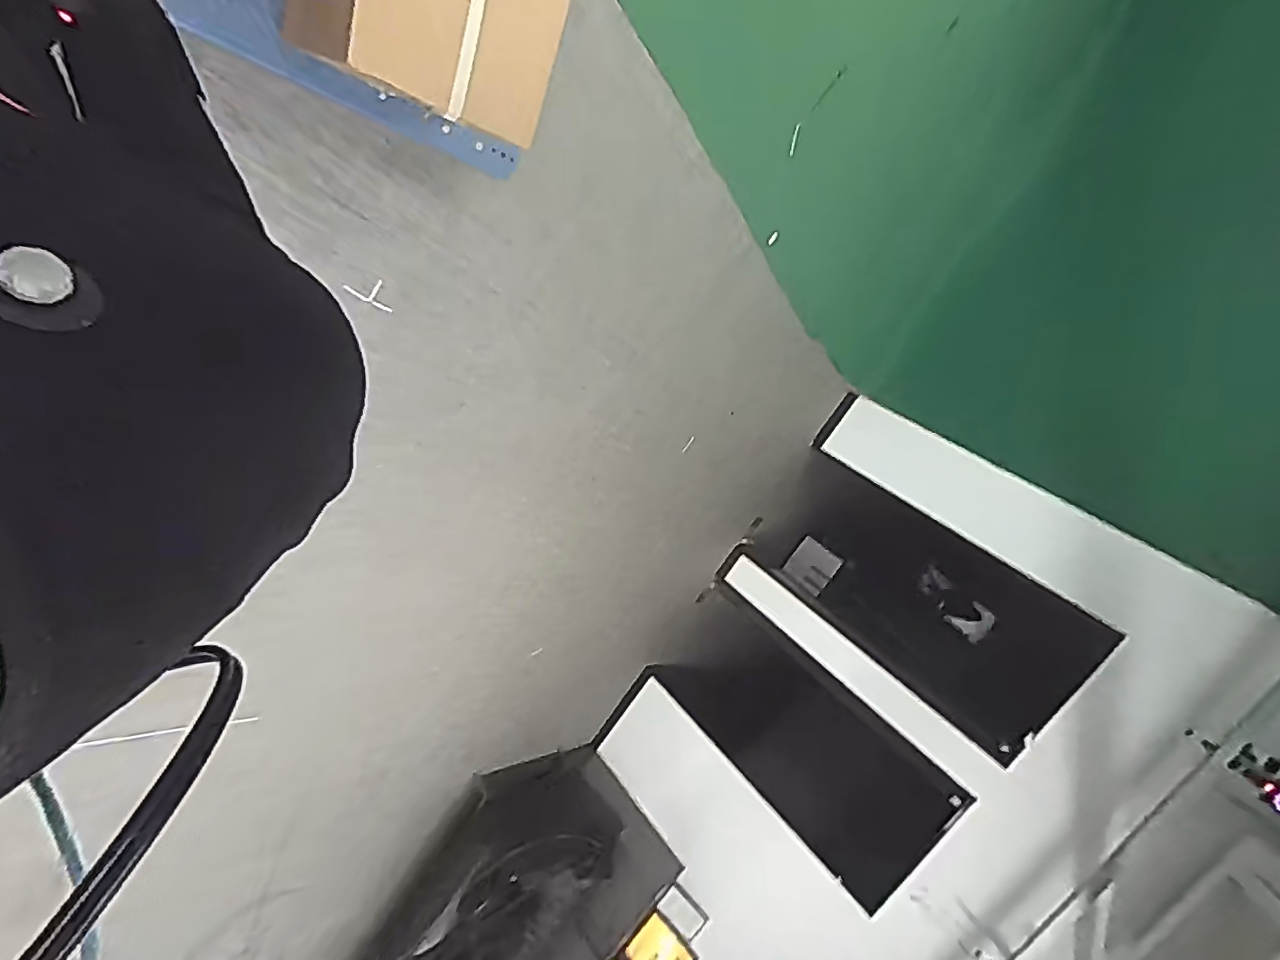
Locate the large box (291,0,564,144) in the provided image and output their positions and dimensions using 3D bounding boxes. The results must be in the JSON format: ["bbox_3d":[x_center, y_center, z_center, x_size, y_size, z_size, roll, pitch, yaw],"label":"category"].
[{"bbox_3d":[-0.334,-0.838,0.871,0.320,0.320,0.408,-6,126,-49],"label":"large box"}]
